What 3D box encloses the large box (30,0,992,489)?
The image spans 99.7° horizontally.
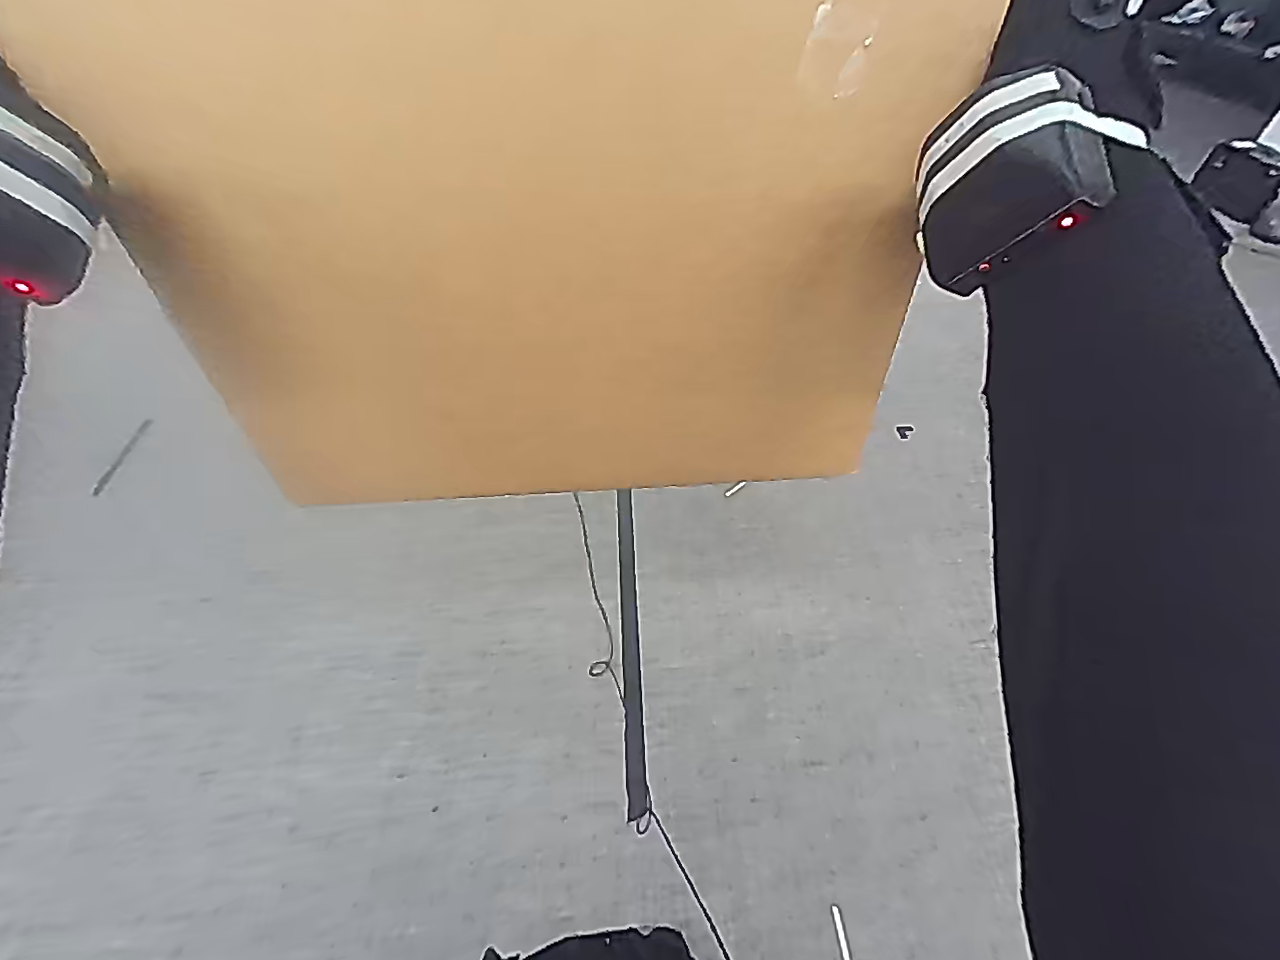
[{"bbox_3d":[-0.056,-0.213,0.402,0.408,0.320,0.320,-3,42,-3],"label":"large box"}]
